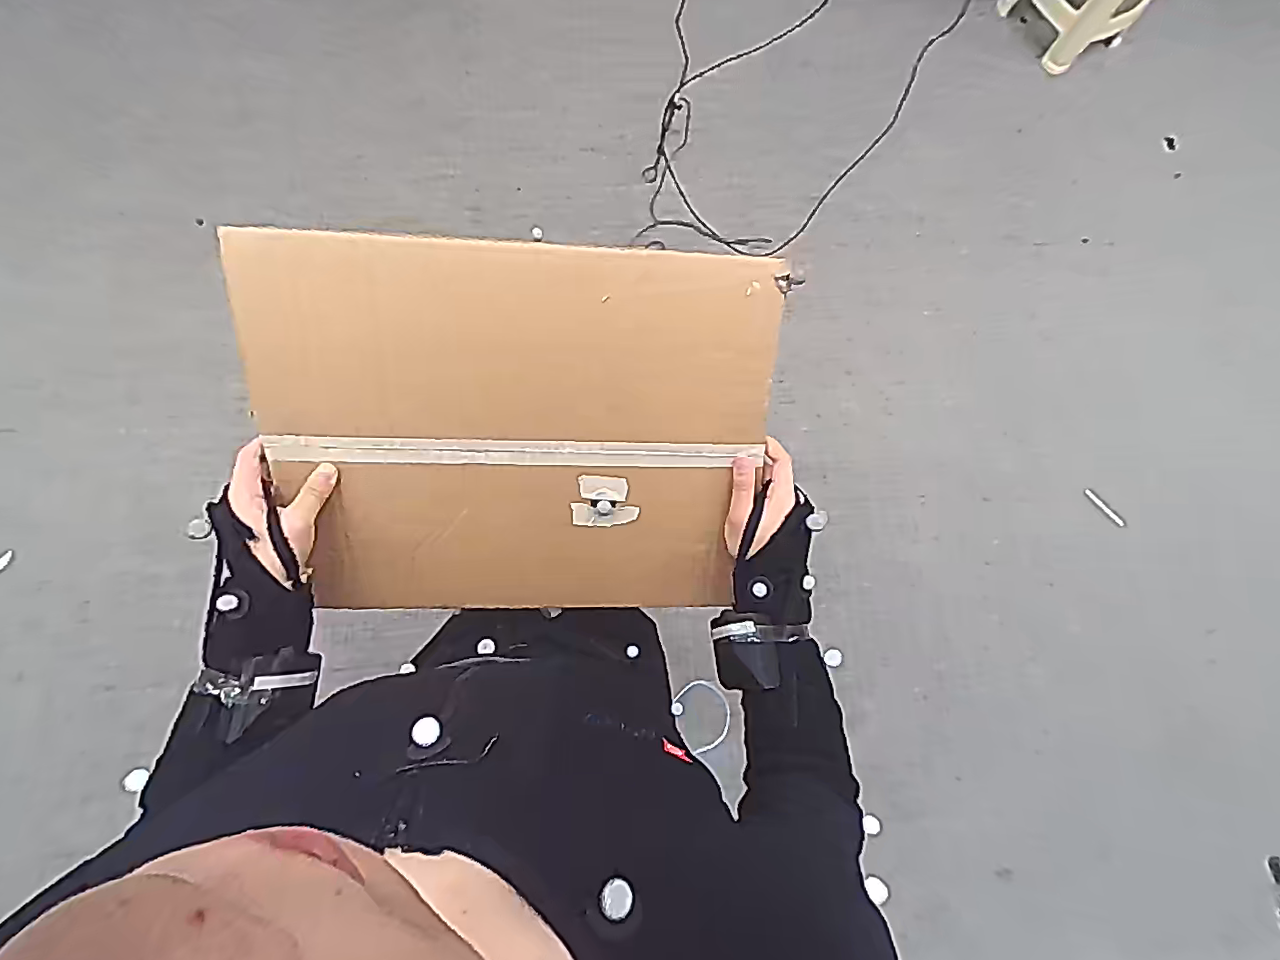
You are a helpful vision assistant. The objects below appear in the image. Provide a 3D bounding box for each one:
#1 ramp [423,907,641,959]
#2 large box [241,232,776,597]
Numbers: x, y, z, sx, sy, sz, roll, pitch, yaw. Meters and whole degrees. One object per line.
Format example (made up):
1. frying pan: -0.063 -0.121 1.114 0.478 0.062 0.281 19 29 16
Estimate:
1. ramp: -0.210 1.469 1.058 0.509 0.206 0.991 -4 78 -5
2. large box: -0.110 -0.093 0.597 0.408 0.320 0.320 0 114 -7
